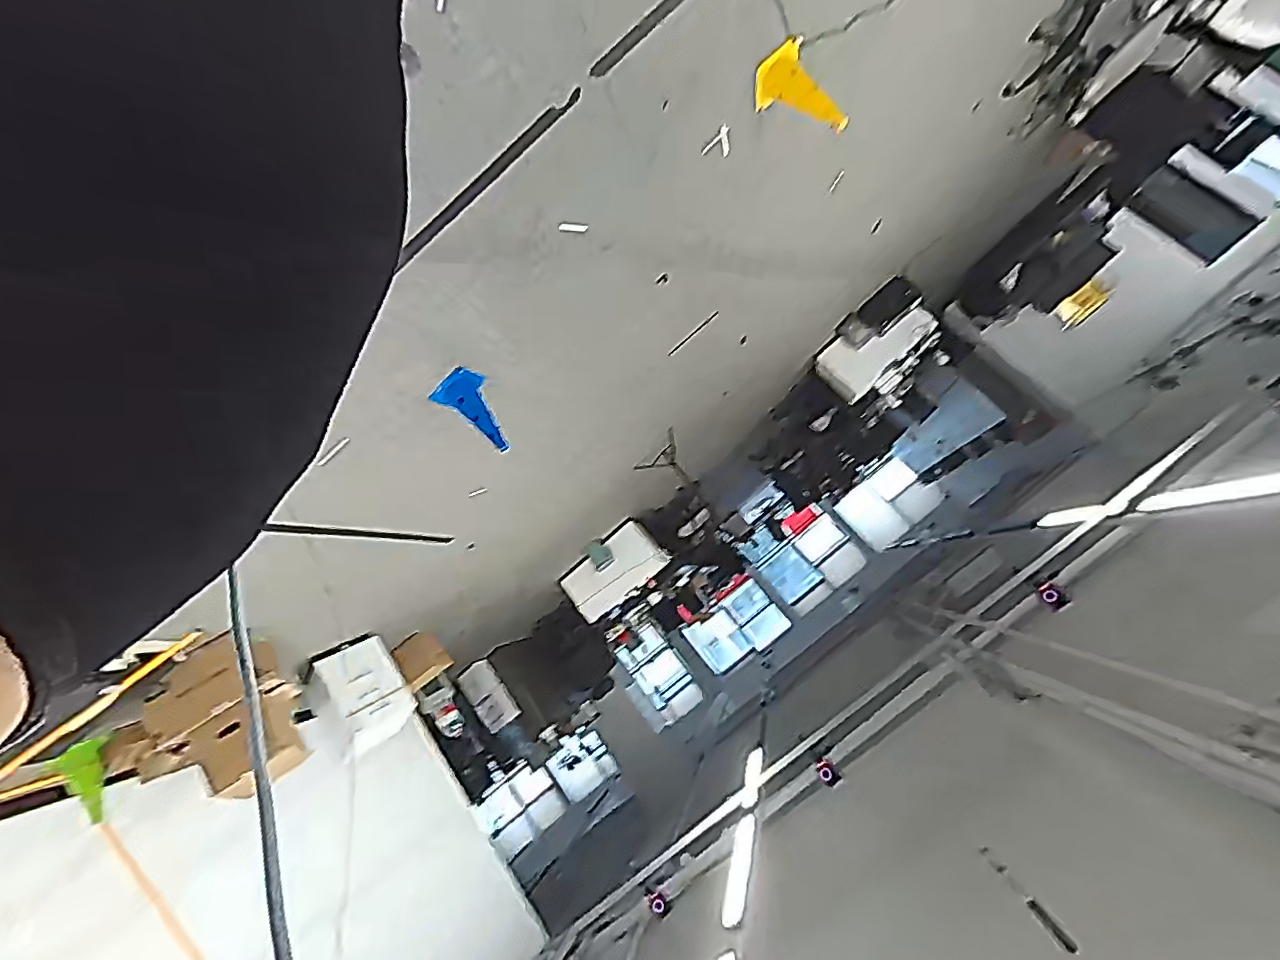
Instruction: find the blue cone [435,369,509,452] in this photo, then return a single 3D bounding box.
[{"bbox_3d":[-0.651,-0.261,2.231,0.193,0.380,0.192,-43,163,10],"label":"blue cone"}]
